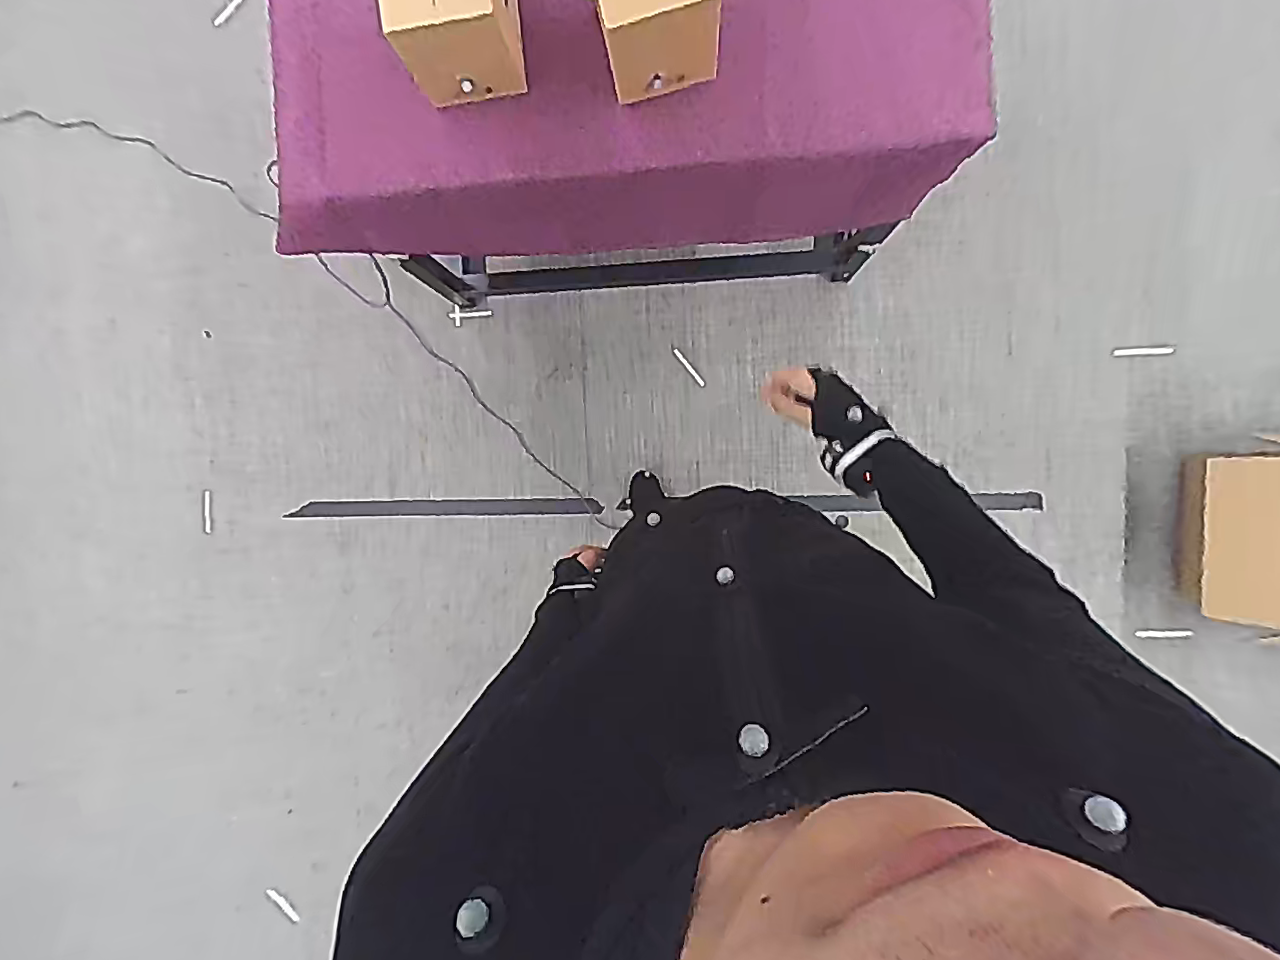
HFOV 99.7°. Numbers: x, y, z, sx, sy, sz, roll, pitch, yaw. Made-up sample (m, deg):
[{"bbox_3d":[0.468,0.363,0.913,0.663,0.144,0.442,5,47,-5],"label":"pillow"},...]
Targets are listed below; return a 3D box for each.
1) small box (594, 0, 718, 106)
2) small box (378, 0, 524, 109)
[{"bbox_3d":[0.016,-0.721,0.818,0.168,0.176,0.179,-13,90,6],"label":"small box"},{"bbox_3d":[-0.289,-0.728,0.842,0.168,0.176,0.179,-6,92,5],"label":"small box"}]
